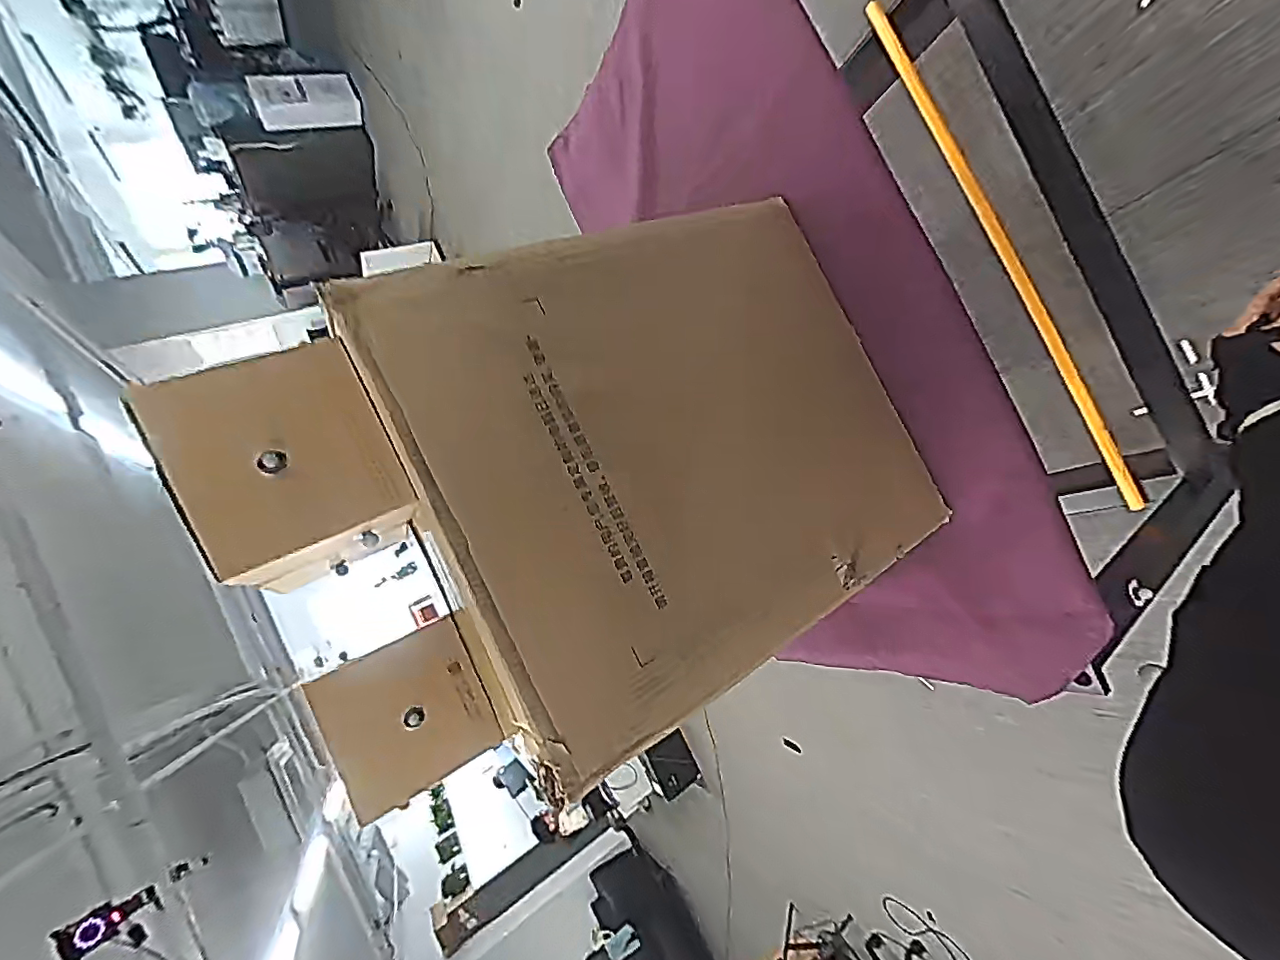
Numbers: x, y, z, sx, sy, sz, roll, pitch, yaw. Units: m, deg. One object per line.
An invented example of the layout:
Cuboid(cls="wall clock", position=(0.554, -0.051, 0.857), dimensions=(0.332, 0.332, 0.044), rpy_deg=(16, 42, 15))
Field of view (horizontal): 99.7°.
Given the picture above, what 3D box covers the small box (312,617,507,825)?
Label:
Cuboid(cls="small box", position=(-0.285, 0.285, 0.687), dimensions=(0.168, 0.176, 0.179), rpy_deg=(66, 153, 3))
